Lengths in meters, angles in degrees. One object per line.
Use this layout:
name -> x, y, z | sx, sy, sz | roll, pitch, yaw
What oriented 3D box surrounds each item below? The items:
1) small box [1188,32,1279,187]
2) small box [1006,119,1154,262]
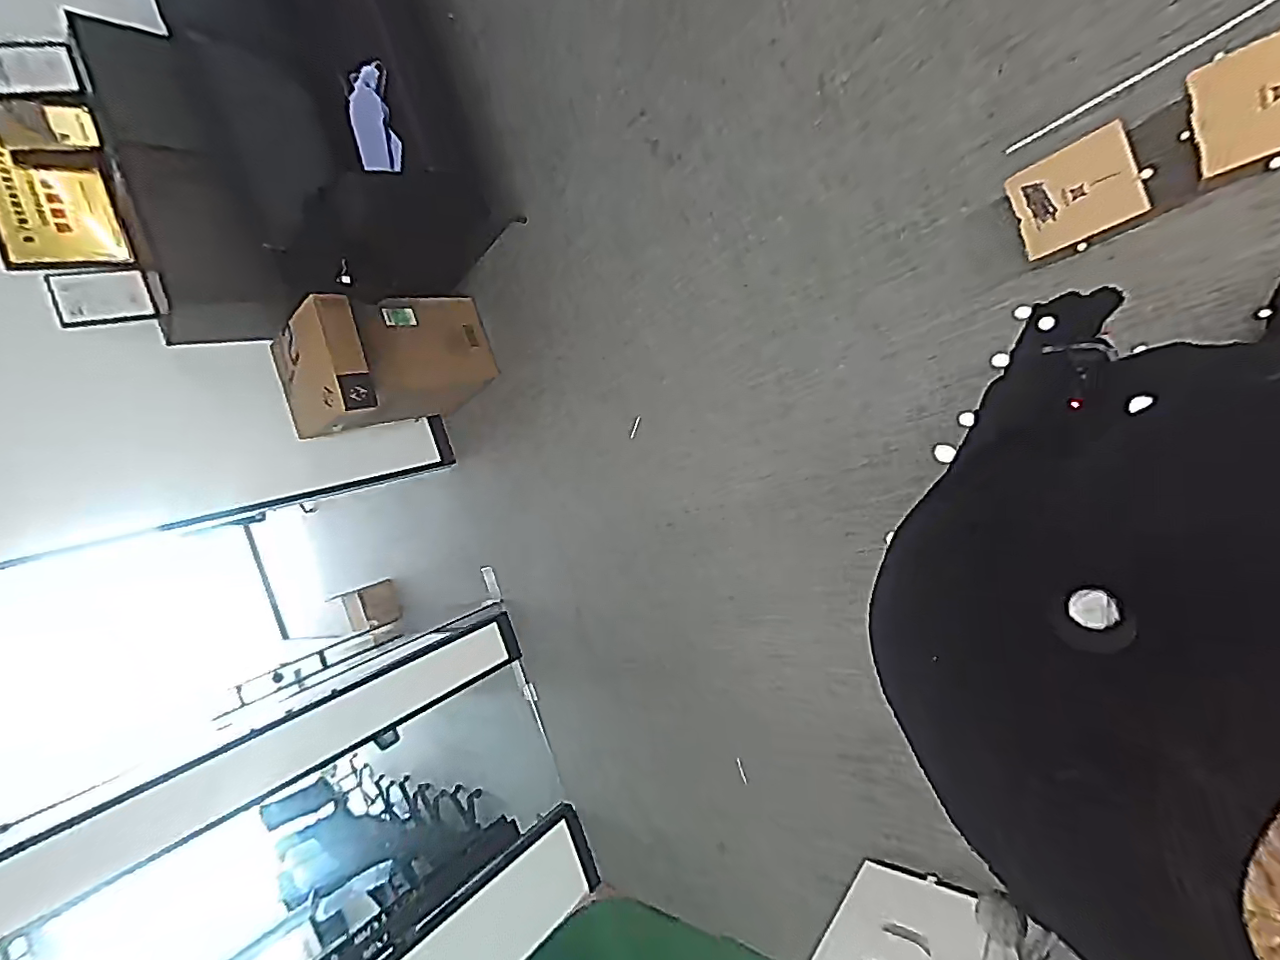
small box -> 0.995, -0.589, 0.847 | 0.179, 0.176, 0.168 | -11, 96, 47
small box -> 0.835, -0.532, 1.025 | 0.179, 0.176, 0.168 | -19, 90, 46
